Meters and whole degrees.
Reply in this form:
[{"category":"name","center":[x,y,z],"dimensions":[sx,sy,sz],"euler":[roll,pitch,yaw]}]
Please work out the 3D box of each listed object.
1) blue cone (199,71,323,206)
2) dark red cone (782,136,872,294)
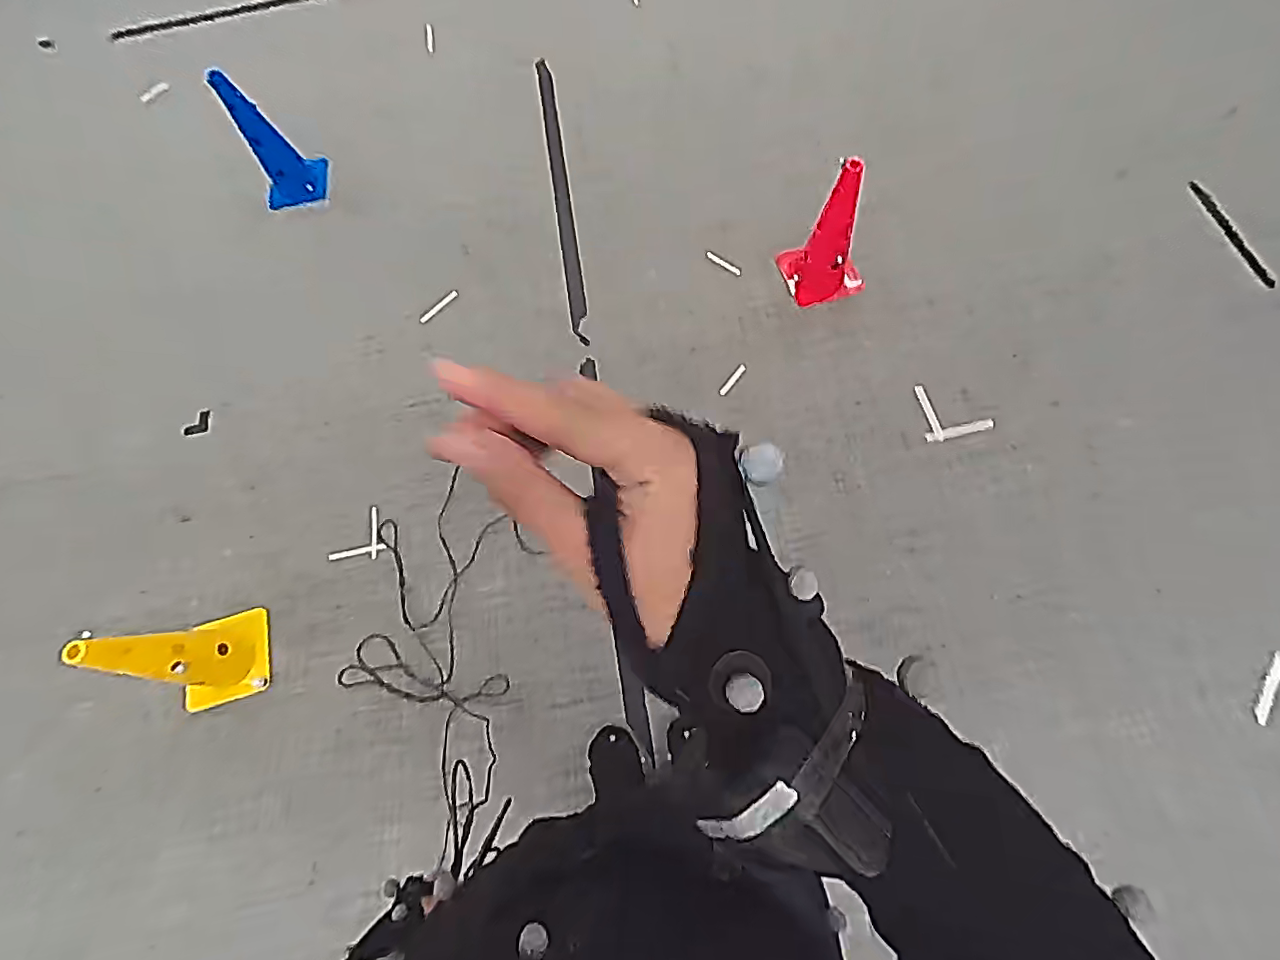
[{"category":"blue cone","center":[-1.183,-1.067,1.677],"dimensions":[0.192,0.380,0.193],"euler":[-10,69,2]},{"category":"dark red cone","center":[0.502,-0.671,1.354],"dimensions":[0.201,0.394,0.202],"euler":[-18,69,-1]}]
